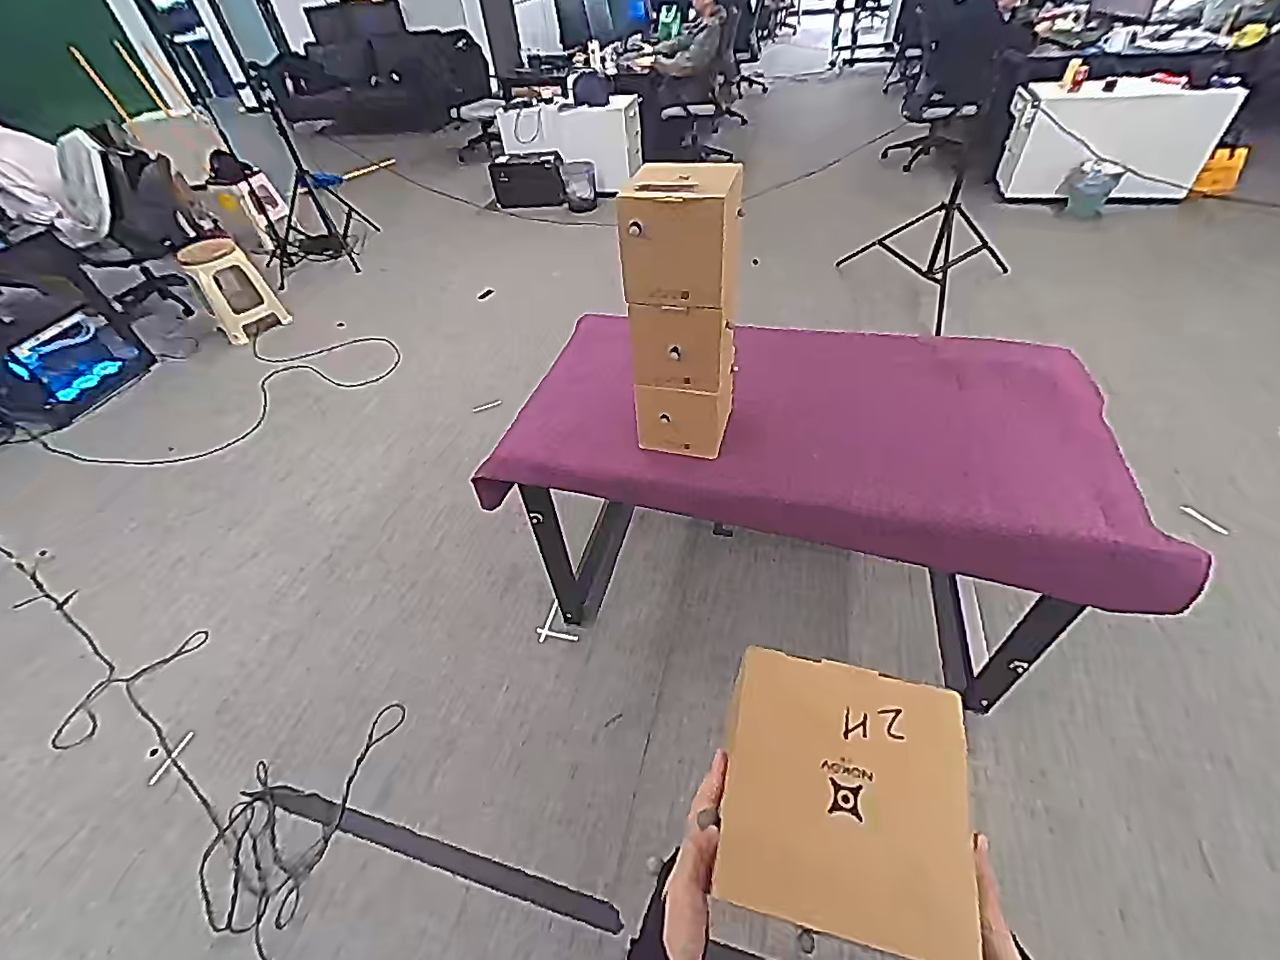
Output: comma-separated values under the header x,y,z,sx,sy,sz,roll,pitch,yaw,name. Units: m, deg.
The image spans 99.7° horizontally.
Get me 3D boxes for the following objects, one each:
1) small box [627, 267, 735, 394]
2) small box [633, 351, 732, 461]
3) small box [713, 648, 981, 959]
x,y,z,sx,sy,sz,roll,pitch,yaw,name
0.083,-0.280,1.015,0.168,0.176,0.179,8,47,13,small box
0.095,-0.160,1.126,0.168,0.176,0.179,9,46,14,small box
0.157,0.270,0.456,0.168,0.176,0.179,10,54,11,small box
